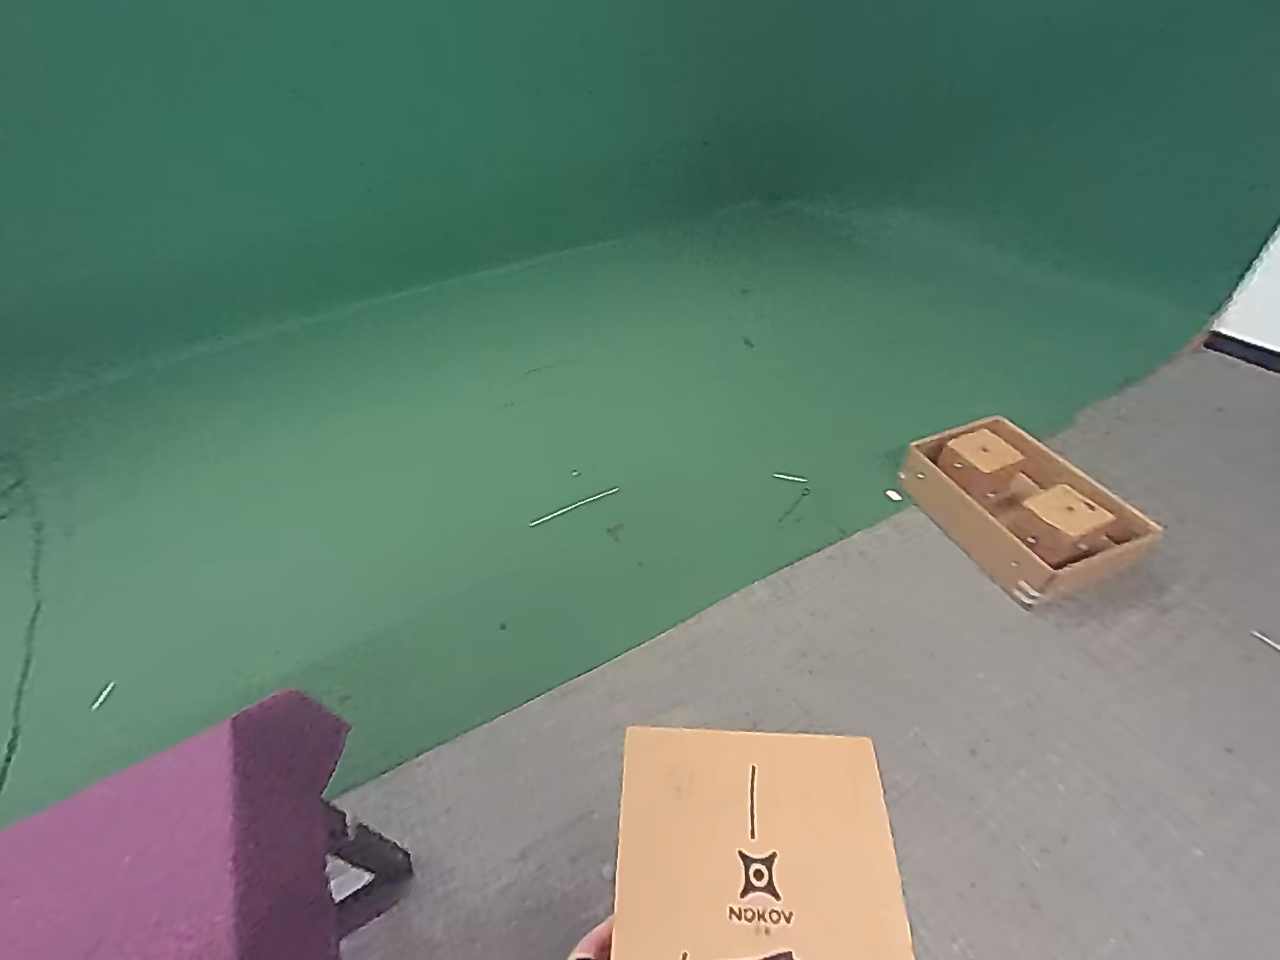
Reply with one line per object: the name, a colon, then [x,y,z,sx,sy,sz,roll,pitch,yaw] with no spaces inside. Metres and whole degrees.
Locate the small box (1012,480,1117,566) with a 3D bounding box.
small box: [1.279,0.134,1.649,0.179,0.176,0.168,-21,45,-12]

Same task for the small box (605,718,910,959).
small box: [0.070,0.283,0.373,0.168,0.176,0.179,2,51,4]
